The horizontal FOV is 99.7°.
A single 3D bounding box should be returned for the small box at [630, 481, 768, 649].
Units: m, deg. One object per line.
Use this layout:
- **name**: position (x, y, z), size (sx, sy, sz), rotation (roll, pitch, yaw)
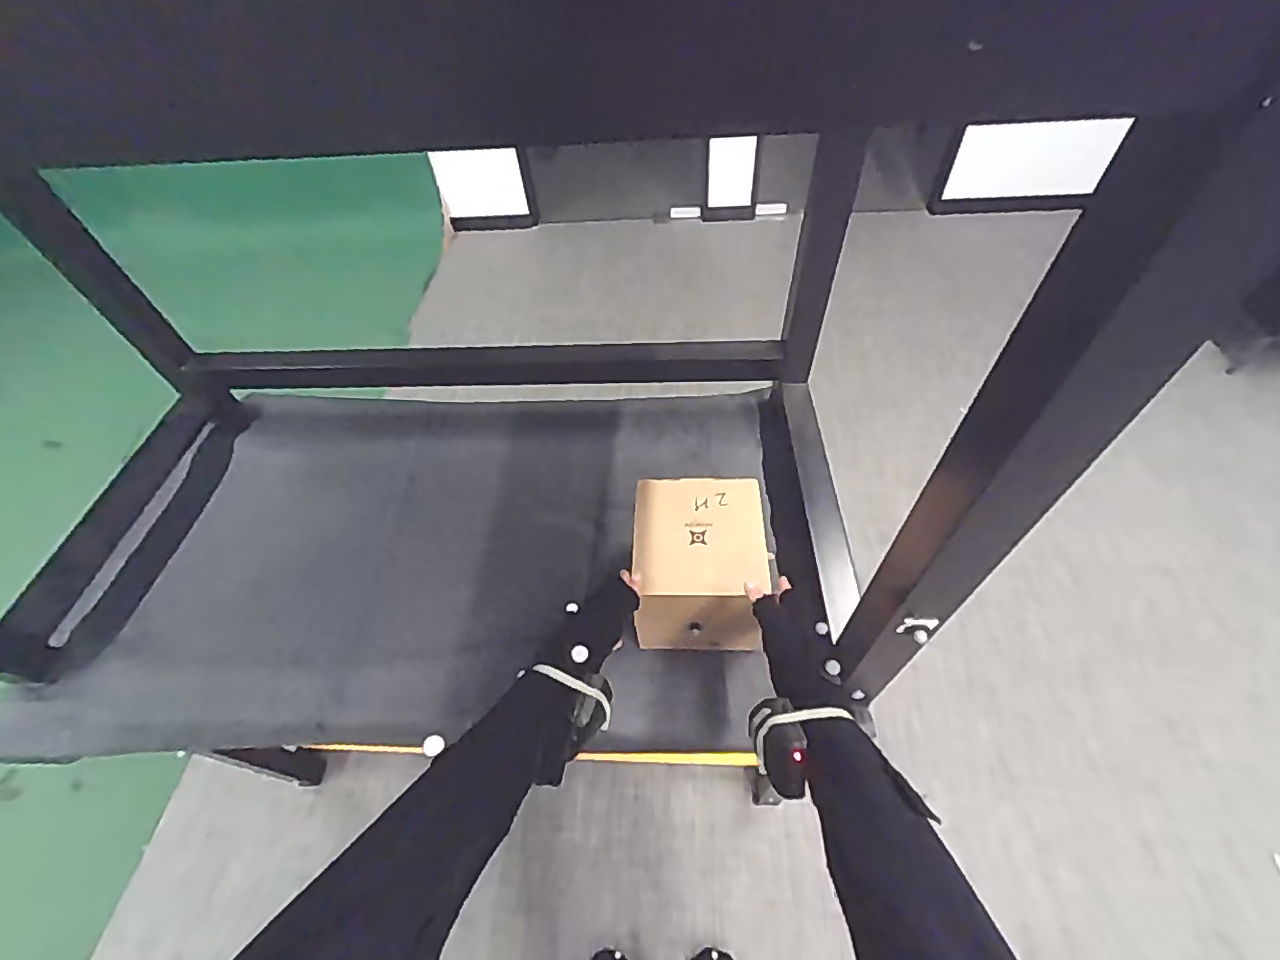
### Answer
- **small box**: position (0.079, 0.121, 0.746), size (0.168, 0.176, 0.179), rotation (0, 51, 4)
